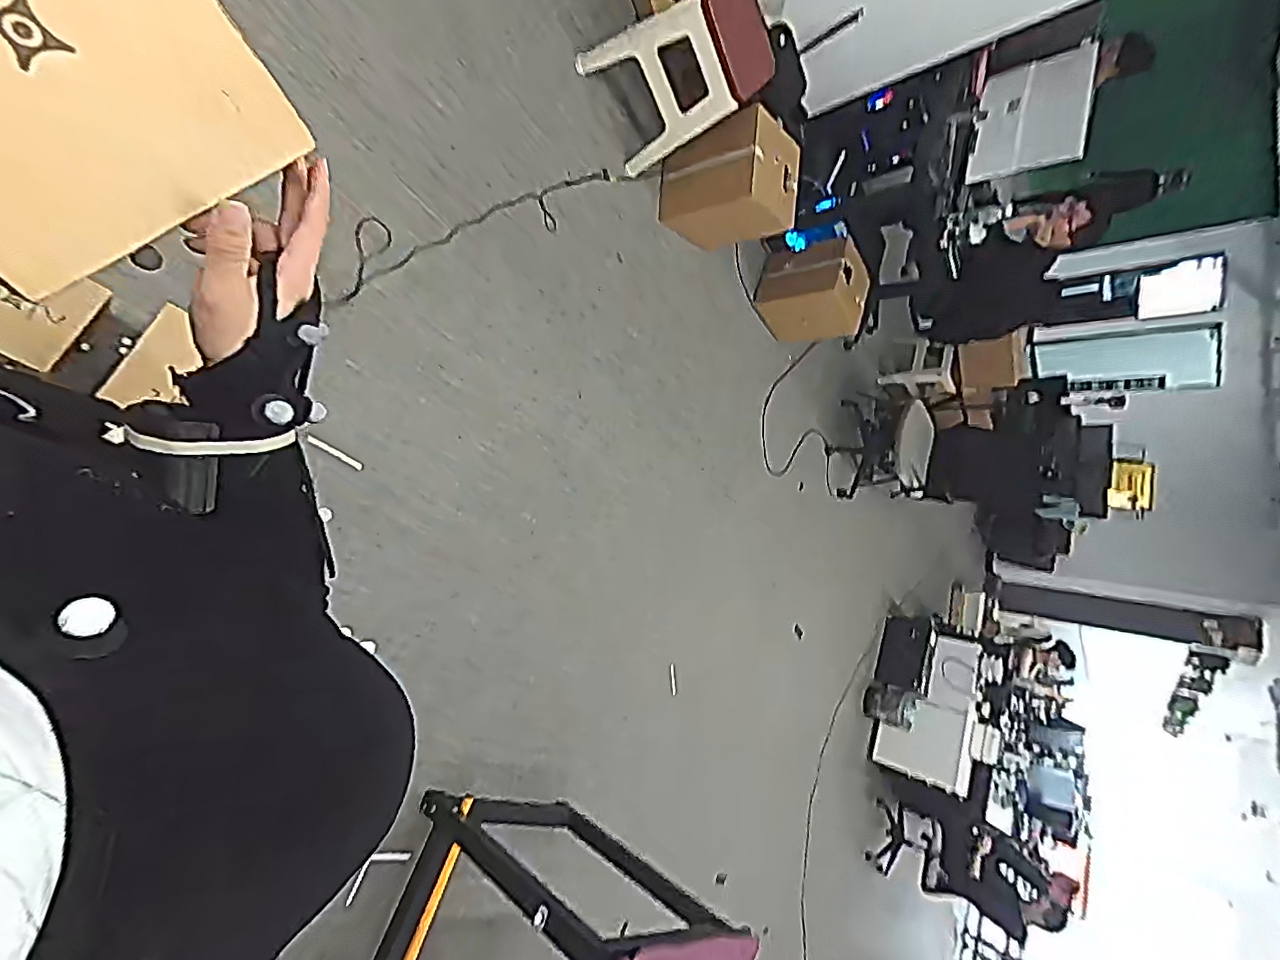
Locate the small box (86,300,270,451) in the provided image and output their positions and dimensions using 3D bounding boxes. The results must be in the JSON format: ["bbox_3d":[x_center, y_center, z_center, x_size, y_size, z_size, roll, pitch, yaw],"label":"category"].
[{"bbox_3d":[-0.761,-0.163,0.888,0.168,0.176,0.179,38,67,-42],"label":"small box"}]
